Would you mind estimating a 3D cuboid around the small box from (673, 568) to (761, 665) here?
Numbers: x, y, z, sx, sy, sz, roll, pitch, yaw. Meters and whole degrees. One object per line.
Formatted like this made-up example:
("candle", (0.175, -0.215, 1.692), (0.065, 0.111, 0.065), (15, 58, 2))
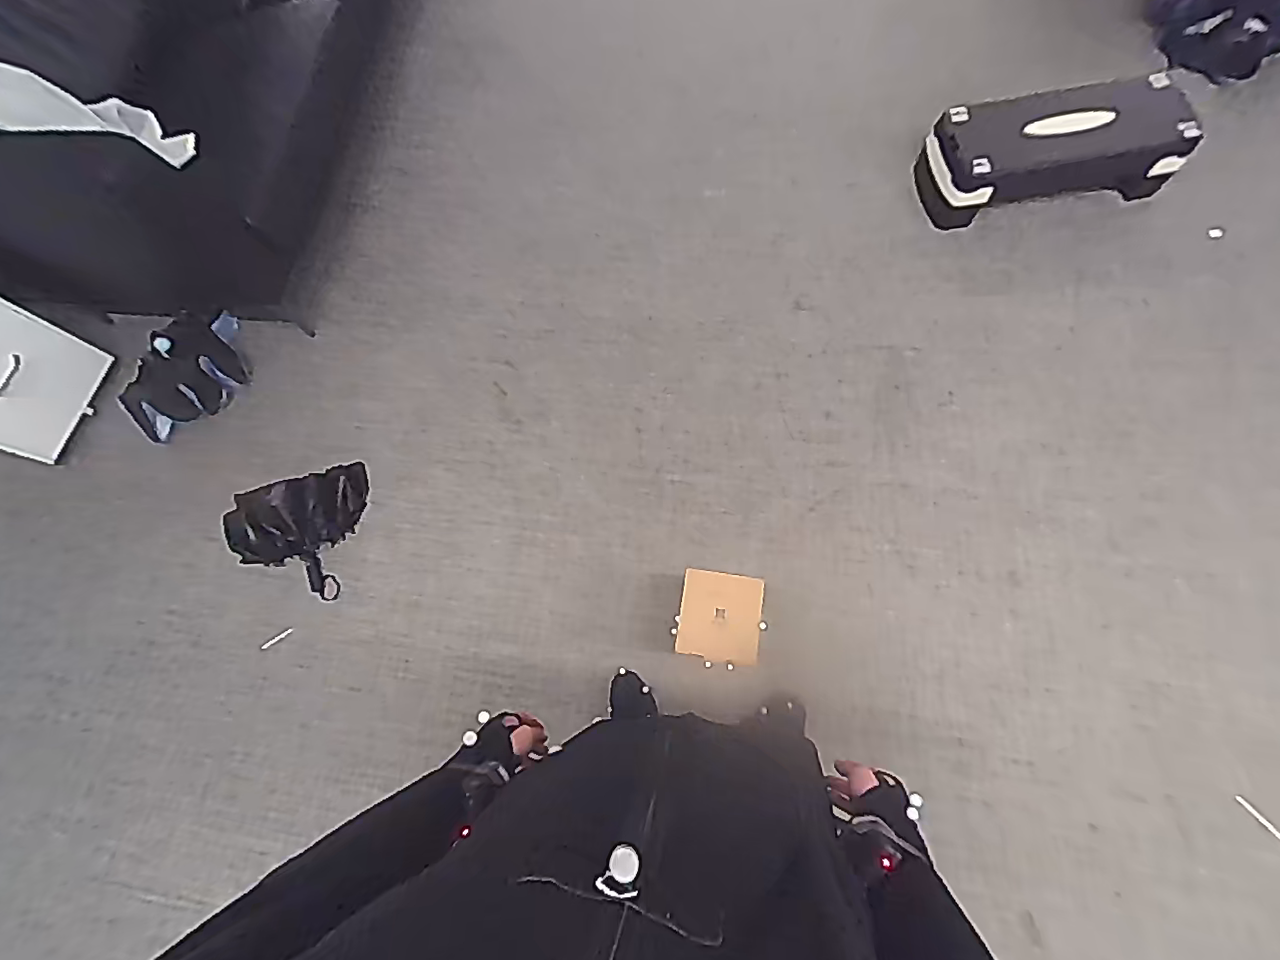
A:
("small box", (0.168, 0.304, 1.189), (0.168, 0.176, 0.179), (7, 72, 7))
